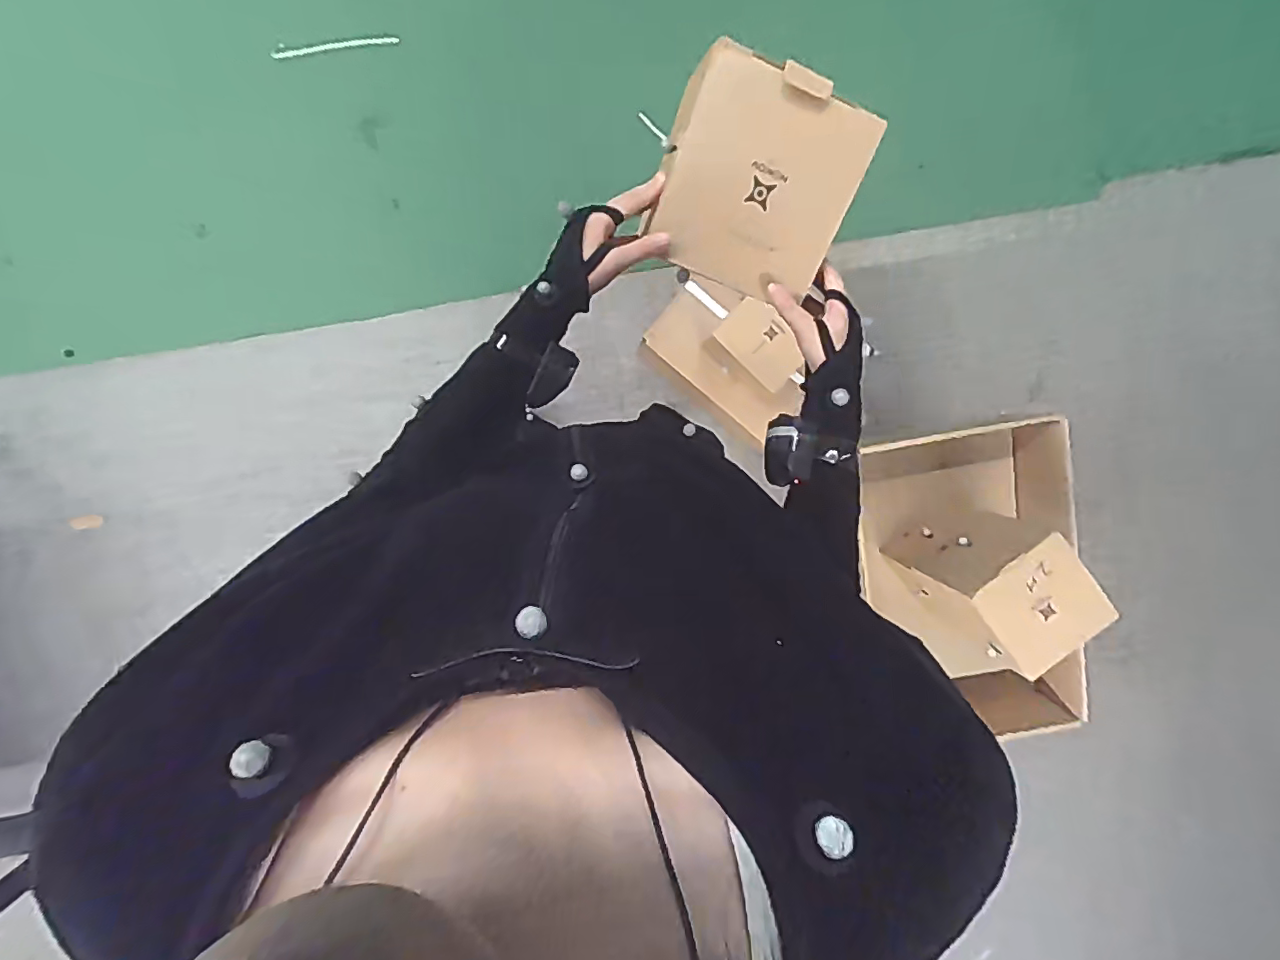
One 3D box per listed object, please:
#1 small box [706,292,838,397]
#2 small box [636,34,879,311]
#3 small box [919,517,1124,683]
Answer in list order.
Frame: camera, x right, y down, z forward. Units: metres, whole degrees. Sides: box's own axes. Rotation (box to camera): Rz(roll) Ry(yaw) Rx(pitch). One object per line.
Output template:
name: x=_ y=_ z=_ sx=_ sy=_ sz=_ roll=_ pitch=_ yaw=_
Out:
small box: x=0.251 y=-0.284 z=1.079 sx=0.168 sy=0.176 sz=0.179 roll=43 pitch=95 yaw=-6
small box: x=0.098 y=-0.293 z=0.551 sx=0.168 sy=0.176 sz=0.179 roll=16 pitch=112 yaw=-10
small box: x=0.603 y=0.182 z=0.878 sx=0.168 sy=0.176 sz=0.179 roll=-39 pitch=96 yaw=3
